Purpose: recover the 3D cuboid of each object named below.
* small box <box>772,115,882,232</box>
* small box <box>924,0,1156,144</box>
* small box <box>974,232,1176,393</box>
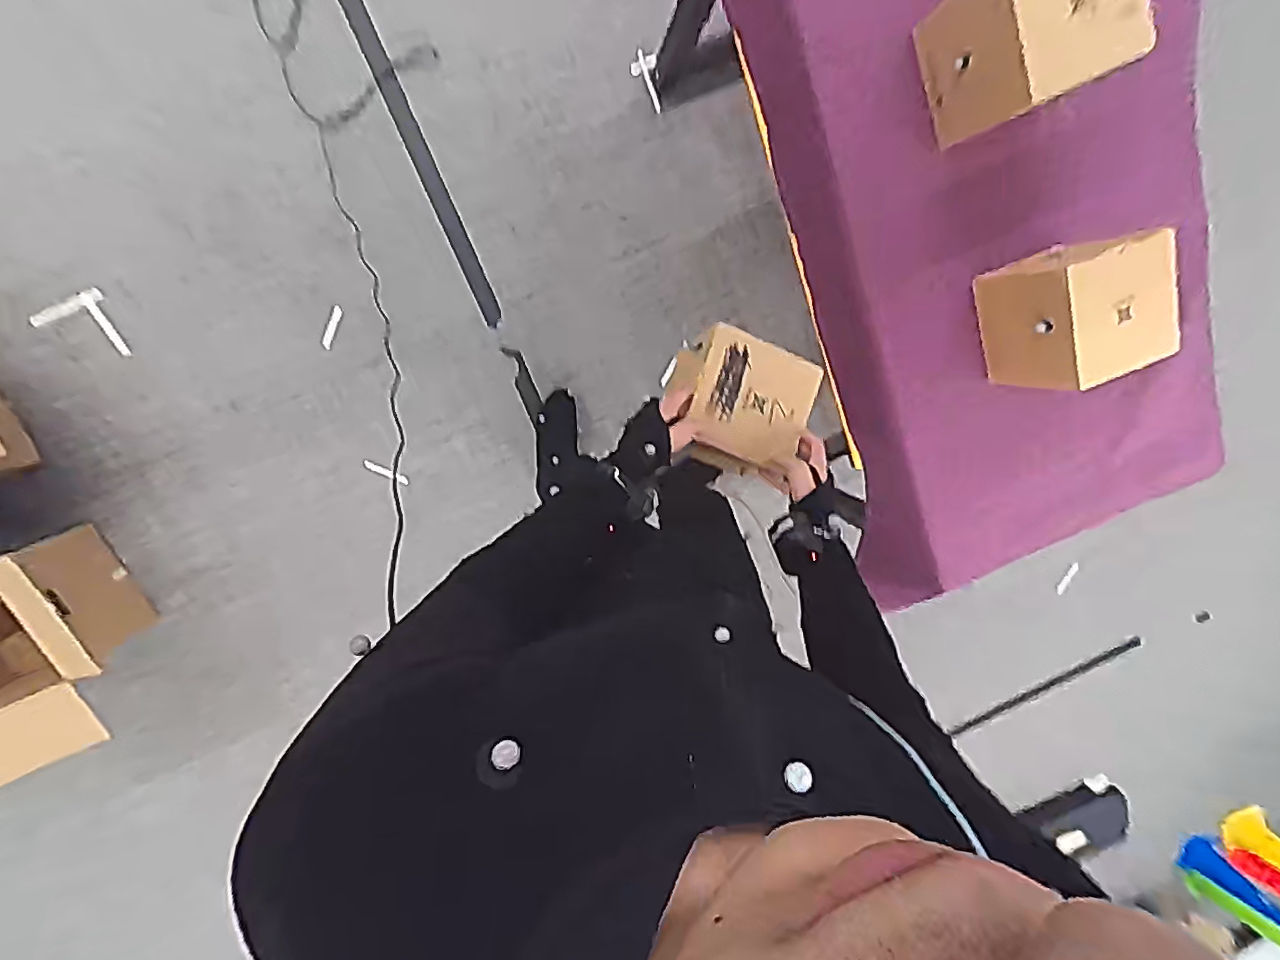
[{"bbox_3d":[0.441,-0.725,1.300,0.168,0.176,0.179,-27,109,-2],"label":"small box"},{"bbox_3d":[0.503,-0.576,0.705,0.179,0.176,0.168,-25,108,-3],"label":"small box"},{"bbox_3d":[0.646,-0.248,0.817,0.168,0.176,0.179,-21,106,-4],"label":"small box"}]
